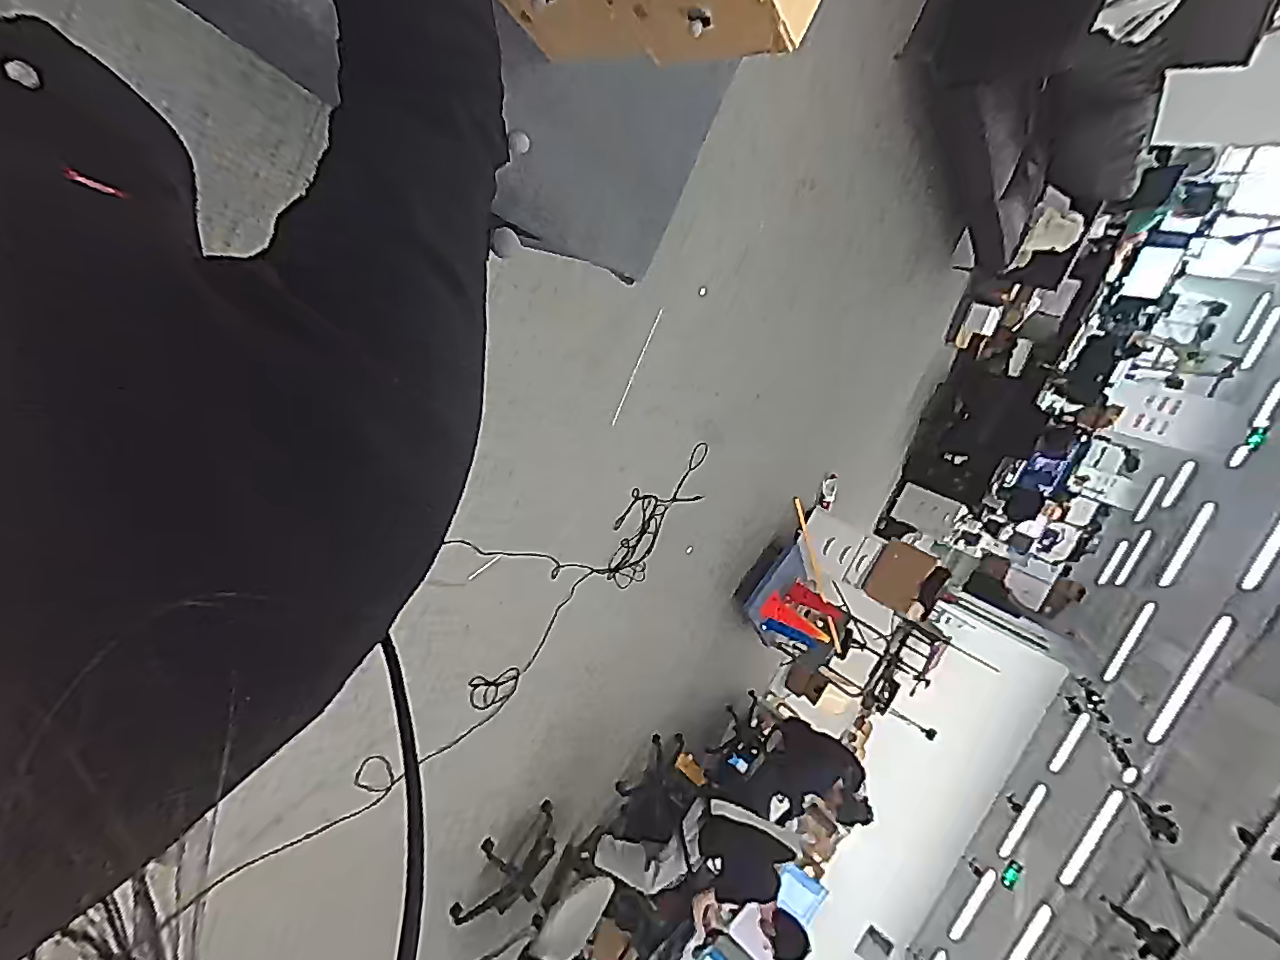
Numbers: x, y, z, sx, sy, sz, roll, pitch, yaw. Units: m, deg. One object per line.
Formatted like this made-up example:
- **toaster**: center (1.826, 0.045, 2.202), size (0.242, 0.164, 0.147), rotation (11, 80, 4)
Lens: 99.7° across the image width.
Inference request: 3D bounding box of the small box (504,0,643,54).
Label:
- **small box**: center (-0.061, -0.555, 0.520), size (0.168, 0.176, 0.179), rotation (19, 99, -54)

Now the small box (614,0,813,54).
- **small box**: center (0.057, -0.485, 0.431), size (0.168, 0.176, 0.179), rotation (17, 99, -54)
